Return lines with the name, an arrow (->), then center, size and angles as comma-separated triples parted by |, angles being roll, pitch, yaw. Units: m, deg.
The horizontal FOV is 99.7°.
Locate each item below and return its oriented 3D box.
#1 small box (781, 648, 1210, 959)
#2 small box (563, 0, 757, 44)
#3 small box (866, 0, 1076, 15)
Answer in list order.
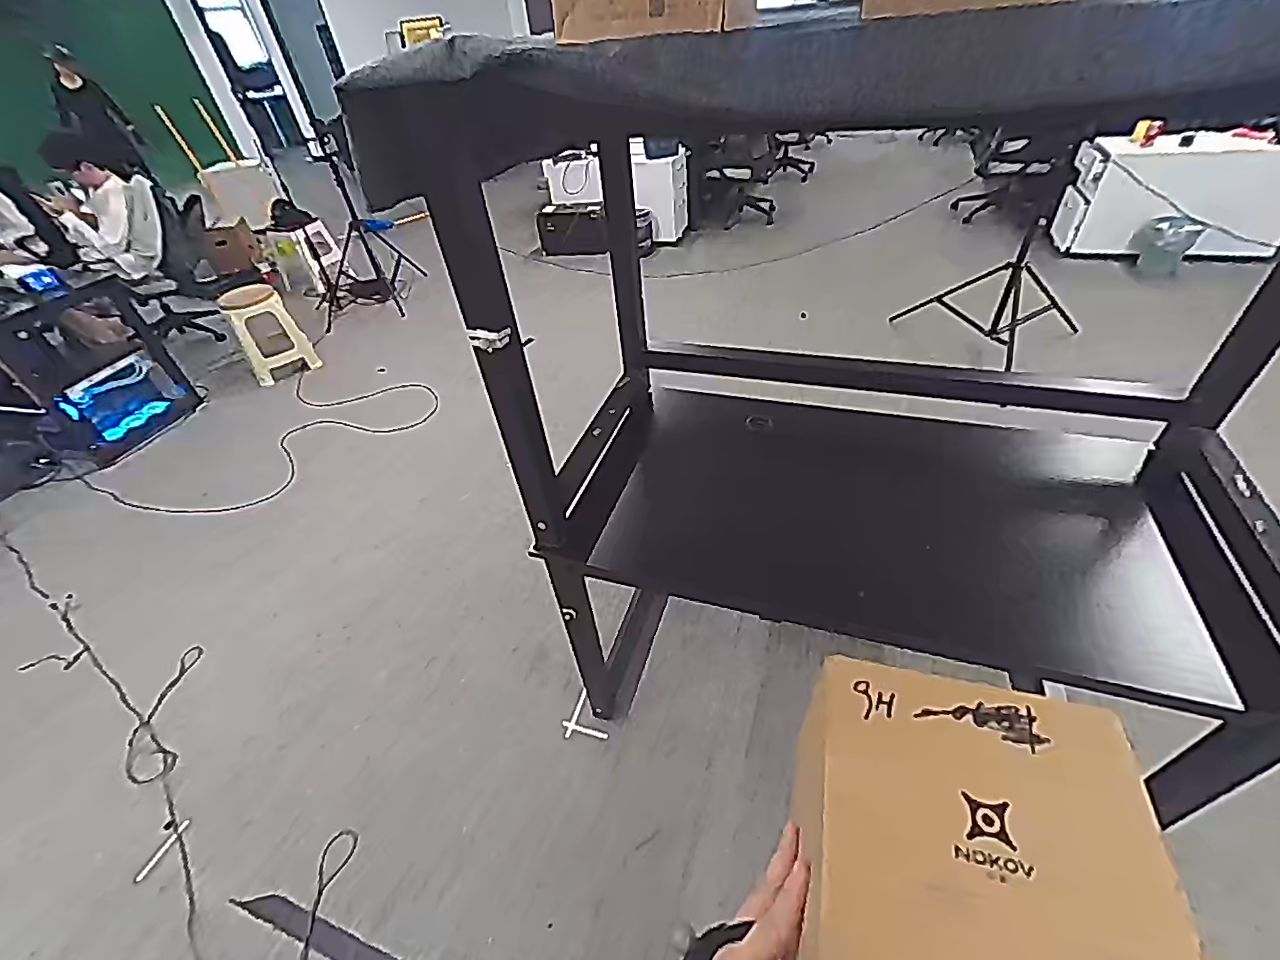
small box -> 0.184, 0.236, 0.331 | 0.168, 0.176, 0.179 | 9, 47, 13
small box -> 0.022, -0.518, 0.503 | 0.168, 0.176, 0.179 | 10, 43, 16
small box -> 0.279, -0.476, 0.419 | 0.168, 0.176, 0.179 | 10, 42, 18
